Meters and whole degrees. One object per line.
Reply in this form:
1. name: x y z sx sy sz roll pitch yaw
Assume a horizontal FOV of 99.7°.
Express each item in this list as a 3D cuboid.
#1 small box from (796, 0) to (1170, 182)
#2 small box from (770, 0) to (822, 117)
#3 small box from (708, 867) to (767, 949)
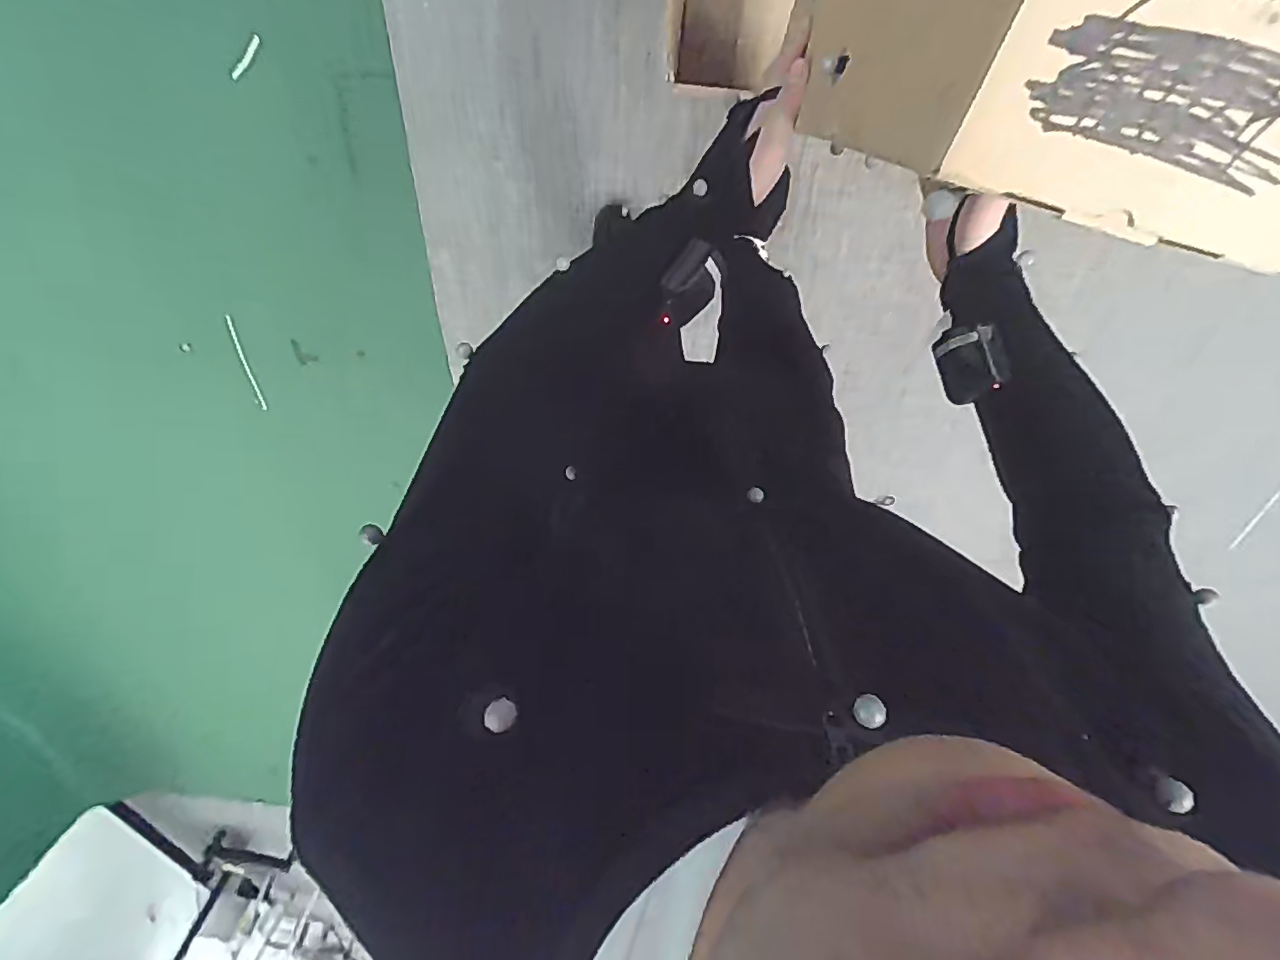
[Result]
1. small box: 0.223 -0.330 0.370 0.168 0.176 0.179 11 127 -5
2. small box: 0.232 -0.427 0.499 0.168 0.176 0.179 12 126 -5
3. small box: 0.317 1.421 1.799 0.168 0.176 0.179 5 127 3
